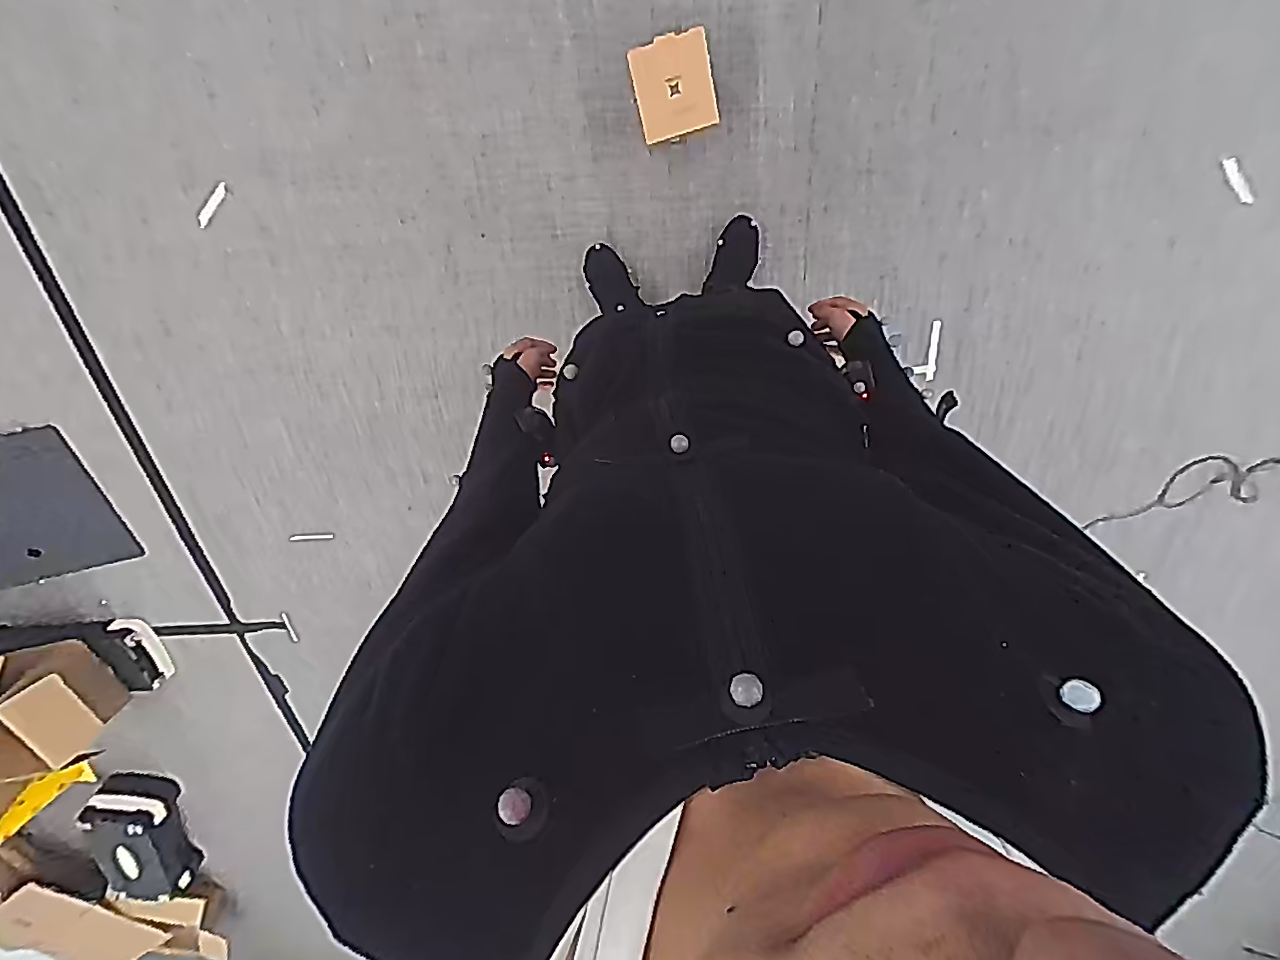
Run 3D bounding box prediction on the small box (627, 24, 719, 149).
[{"bbox_3d":[0.071,-0.864,1.204,0.168,0.176,0.179,-13,117,7],"label":"small box"}]
